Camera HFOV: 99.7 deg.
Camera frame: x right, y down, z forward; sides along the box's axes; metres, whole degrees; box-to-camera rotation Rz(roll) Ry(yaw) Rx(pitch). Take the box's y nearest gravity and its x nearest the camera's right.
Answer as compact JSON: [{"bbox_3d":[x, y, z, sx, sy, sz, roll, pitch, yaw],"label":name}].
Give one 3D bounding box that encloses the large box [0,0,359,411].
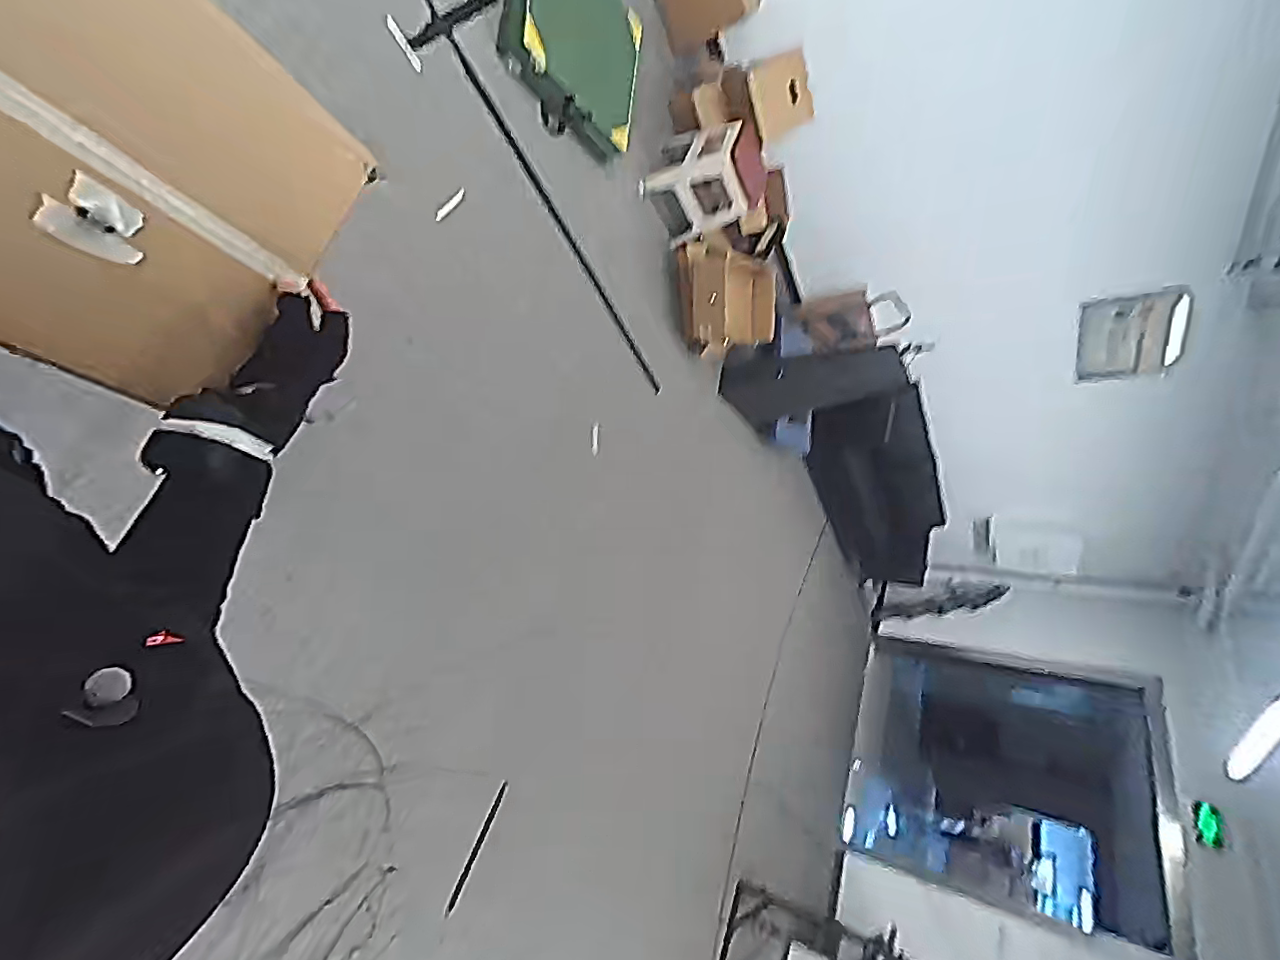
[{"bbox_3d":[-0.561,-0.301,0.463,0.408,0.320,0.320,37,73,-52],"label":"large box"}]
